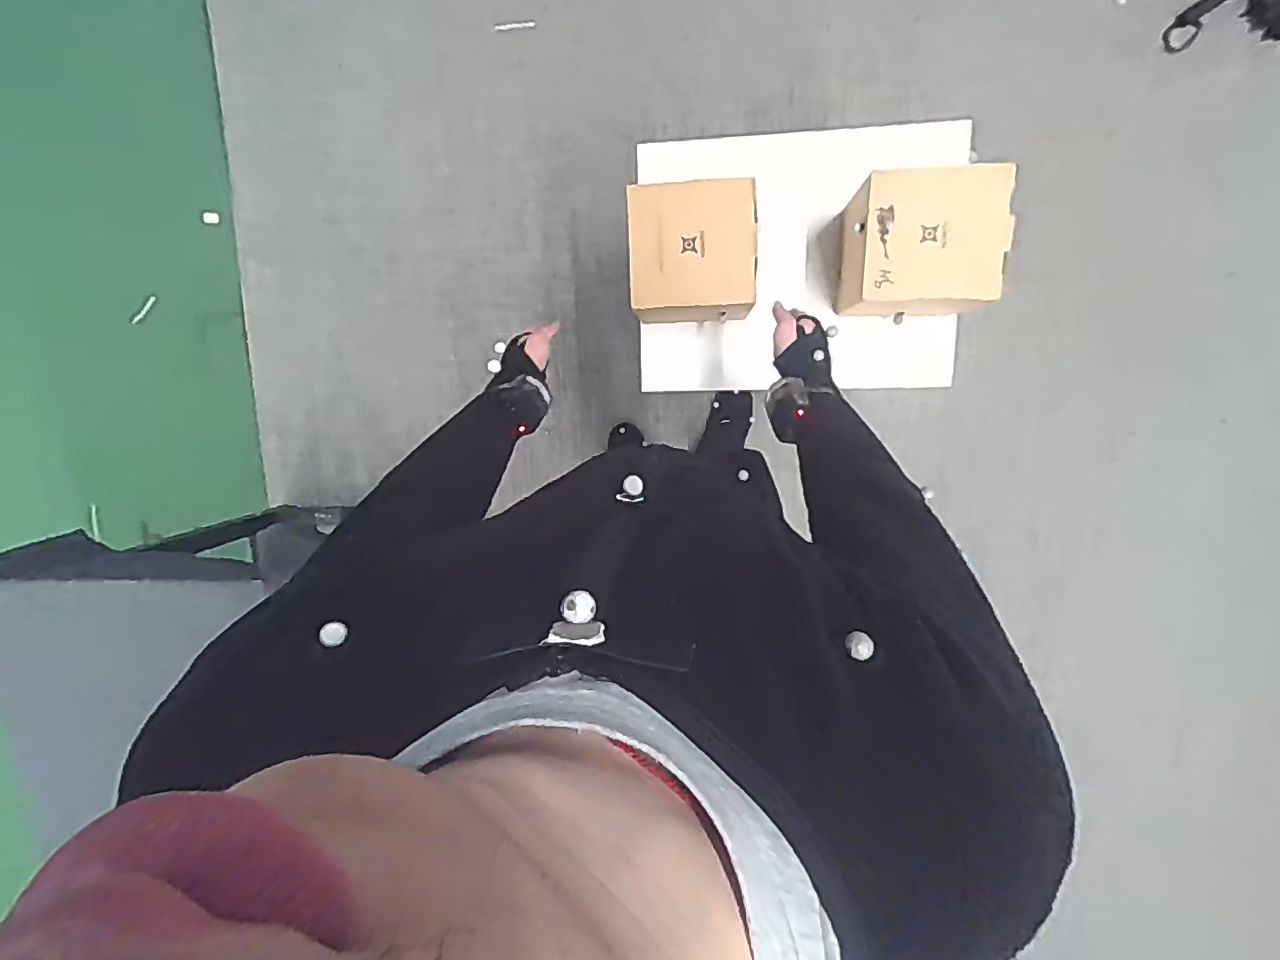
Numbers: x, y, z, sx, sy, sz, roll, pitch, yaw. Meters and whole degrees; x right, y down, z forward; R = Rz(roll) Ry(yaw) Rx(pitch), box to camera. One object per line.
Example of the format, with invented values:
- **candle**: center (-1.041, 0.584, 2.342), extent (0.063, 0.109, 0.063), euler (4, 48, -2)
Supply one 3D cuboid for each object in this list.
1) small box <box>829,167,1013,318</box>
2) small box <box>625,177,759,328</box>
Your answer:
- **small box**: center (0.387, -0.328, 0.774), extent (0.179, 0.176, 0.168), euler (1, 99, 4)
- **small box**: center (0.075, -0.323, 0.800), extent (0.179, 0.176, 0.168), euler (-3, 97, 5)
